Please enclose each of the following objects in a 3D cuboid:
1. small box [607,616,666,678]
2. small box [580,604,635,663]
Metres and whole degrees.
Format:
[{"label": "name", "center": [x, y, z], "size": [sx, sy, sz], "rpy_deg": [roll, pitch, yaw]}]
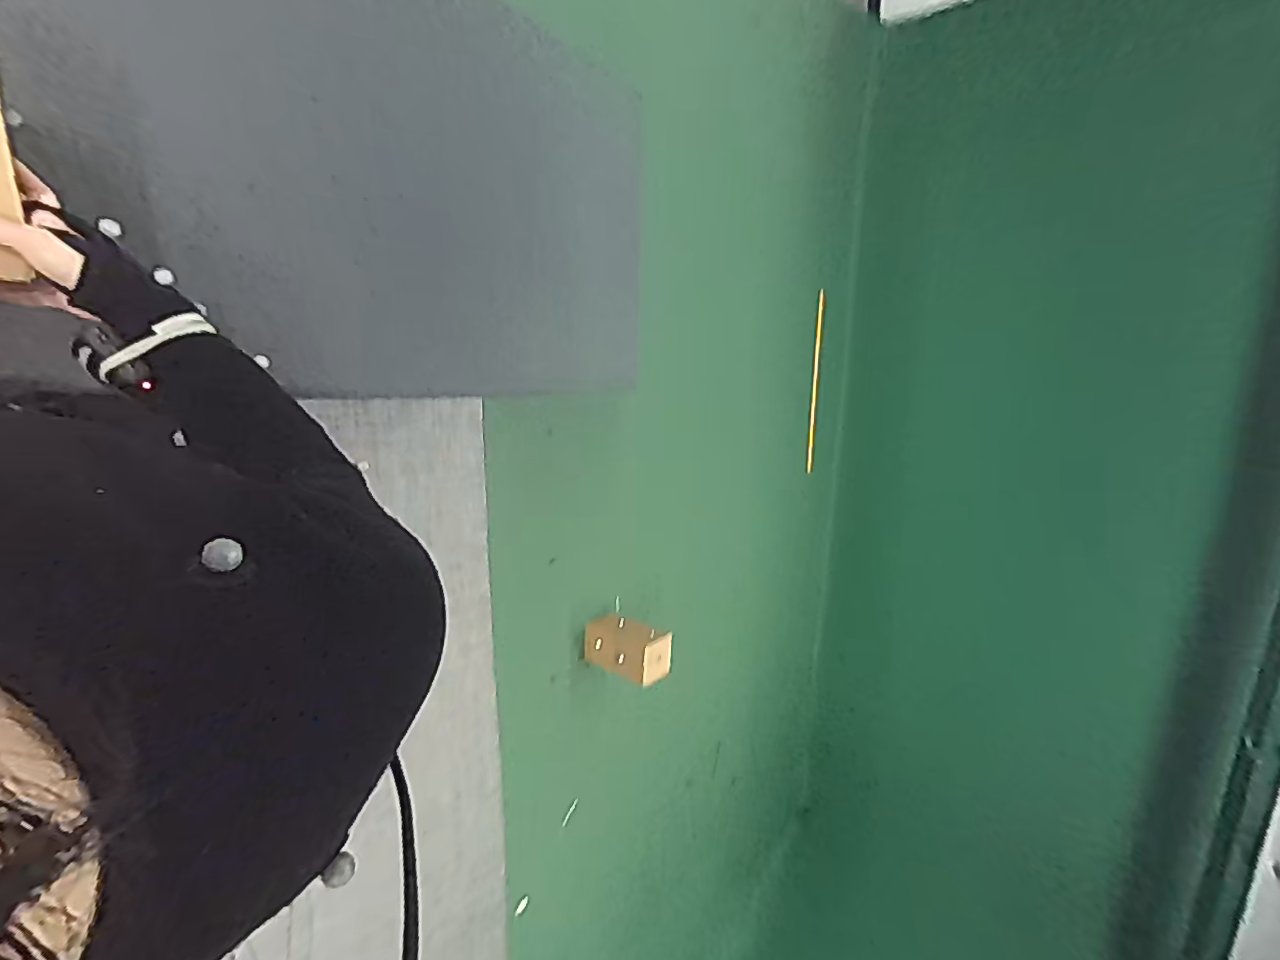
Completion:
[{"label": "small box", "center": [-0.014, 0.676, 2.213], "size": [0.179, 0.176, 0.168], "rpy_deg": [-8, 105, -50]}, {"label": "small box", "center": [-0.141, 0.653, 2.316], "size": [0.179, 0.176, 0.168], "rpy_deg": [-12, 108, -50]}]
